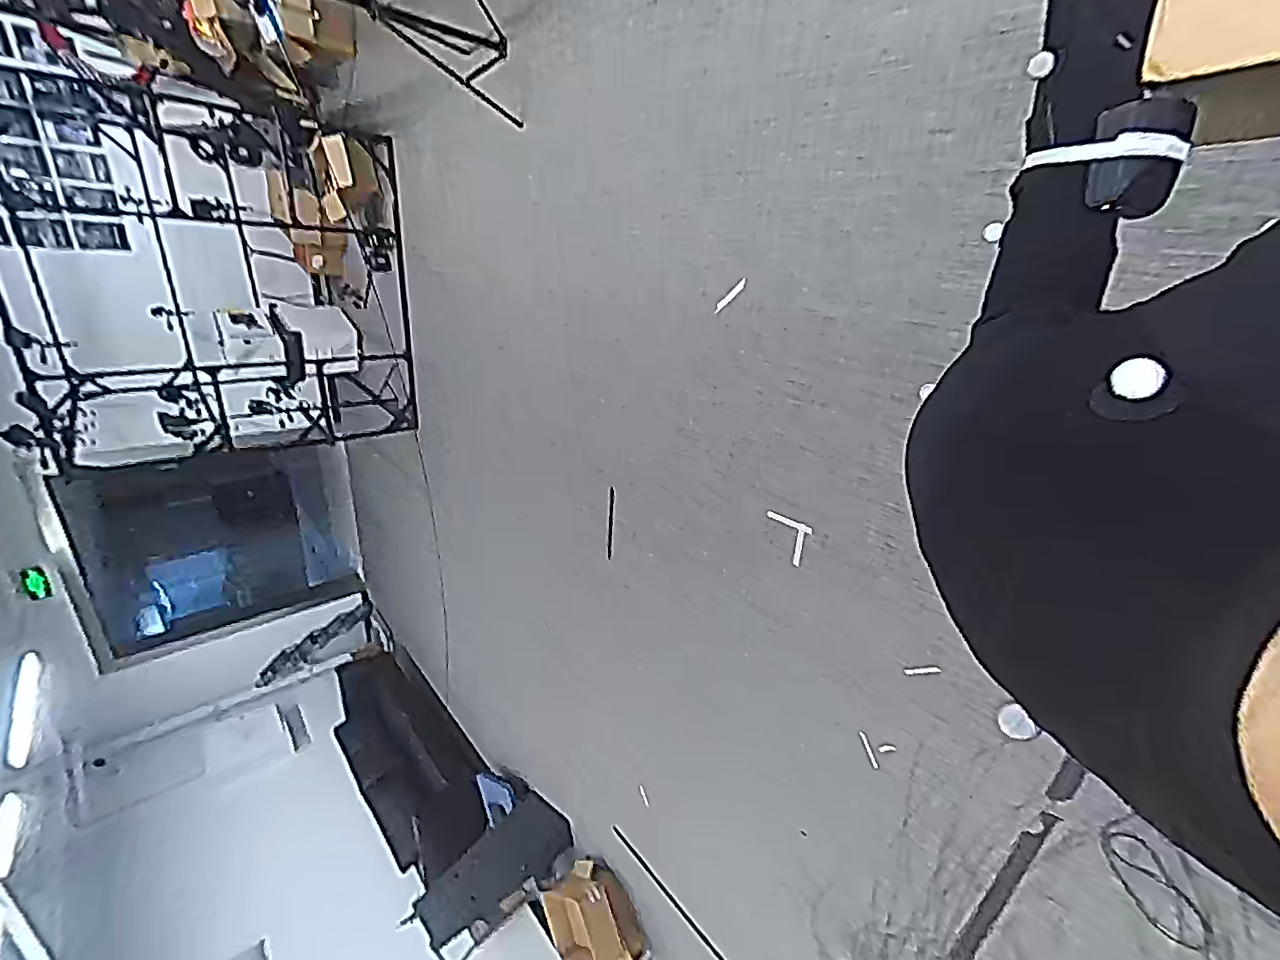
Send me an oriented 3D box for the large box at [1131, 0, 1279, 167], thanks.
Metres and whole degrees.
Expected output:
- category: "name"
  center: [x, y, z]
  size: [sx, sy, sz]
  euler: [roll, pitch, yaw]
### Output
- category: "large box"
  center: [0.572, -0.390, 0.282]
  size: [0.408, 0.320, 0.320]
  euler: [18, 118, 43]
